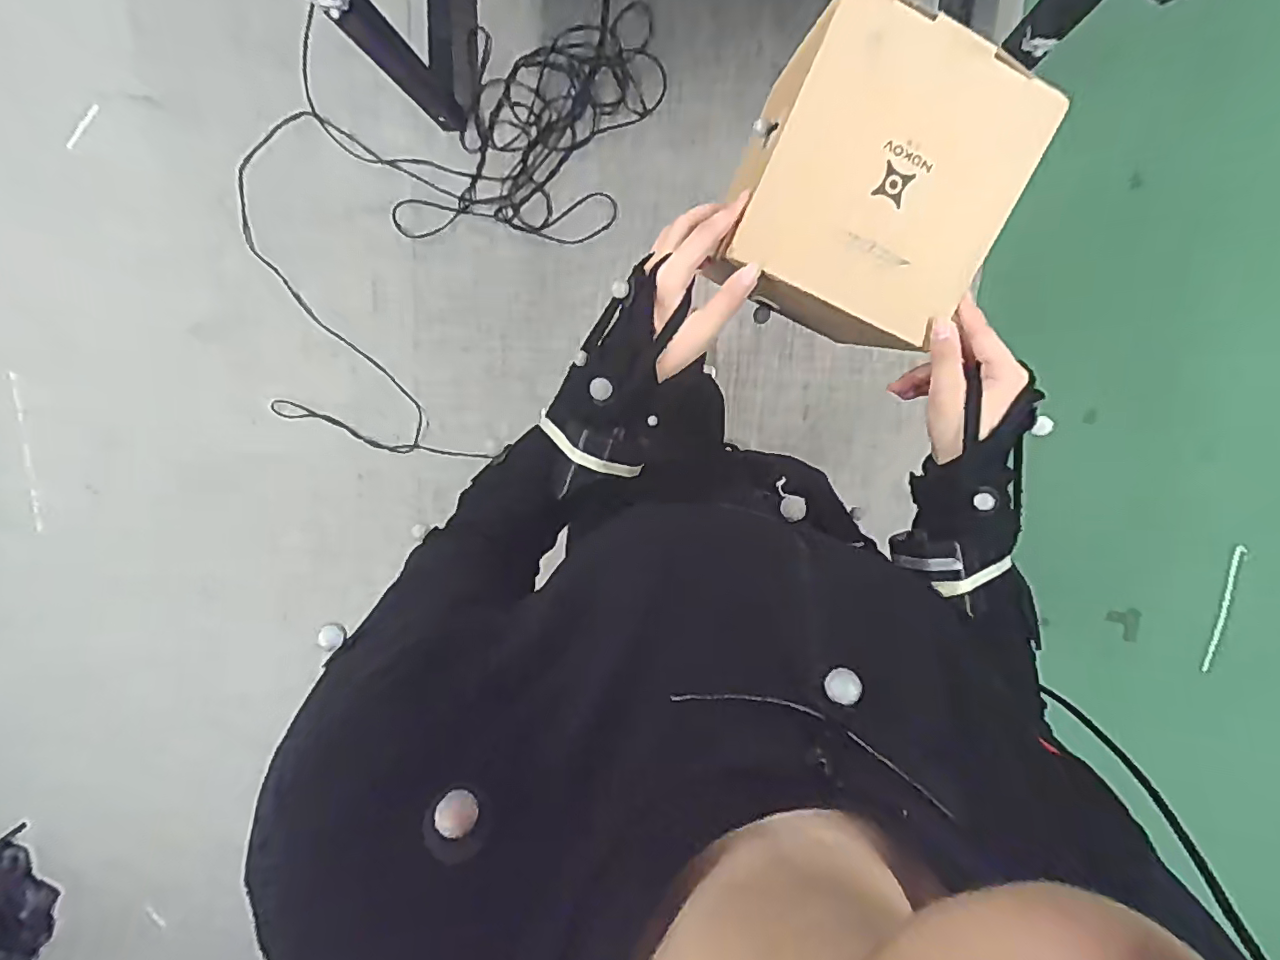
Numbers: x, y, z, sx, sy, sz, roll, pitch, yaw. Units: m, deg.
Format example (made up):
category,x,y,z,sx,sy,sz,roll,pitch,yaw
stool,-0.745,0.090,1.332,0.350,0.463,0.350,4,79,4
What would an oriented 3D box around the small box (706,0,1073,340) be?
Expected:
category,x,y,z,sx,sy,sz,roll,pitch,yaw
small box,0.165,-0.228,0.427,0.168,0.176,0.179,23,104,-8
